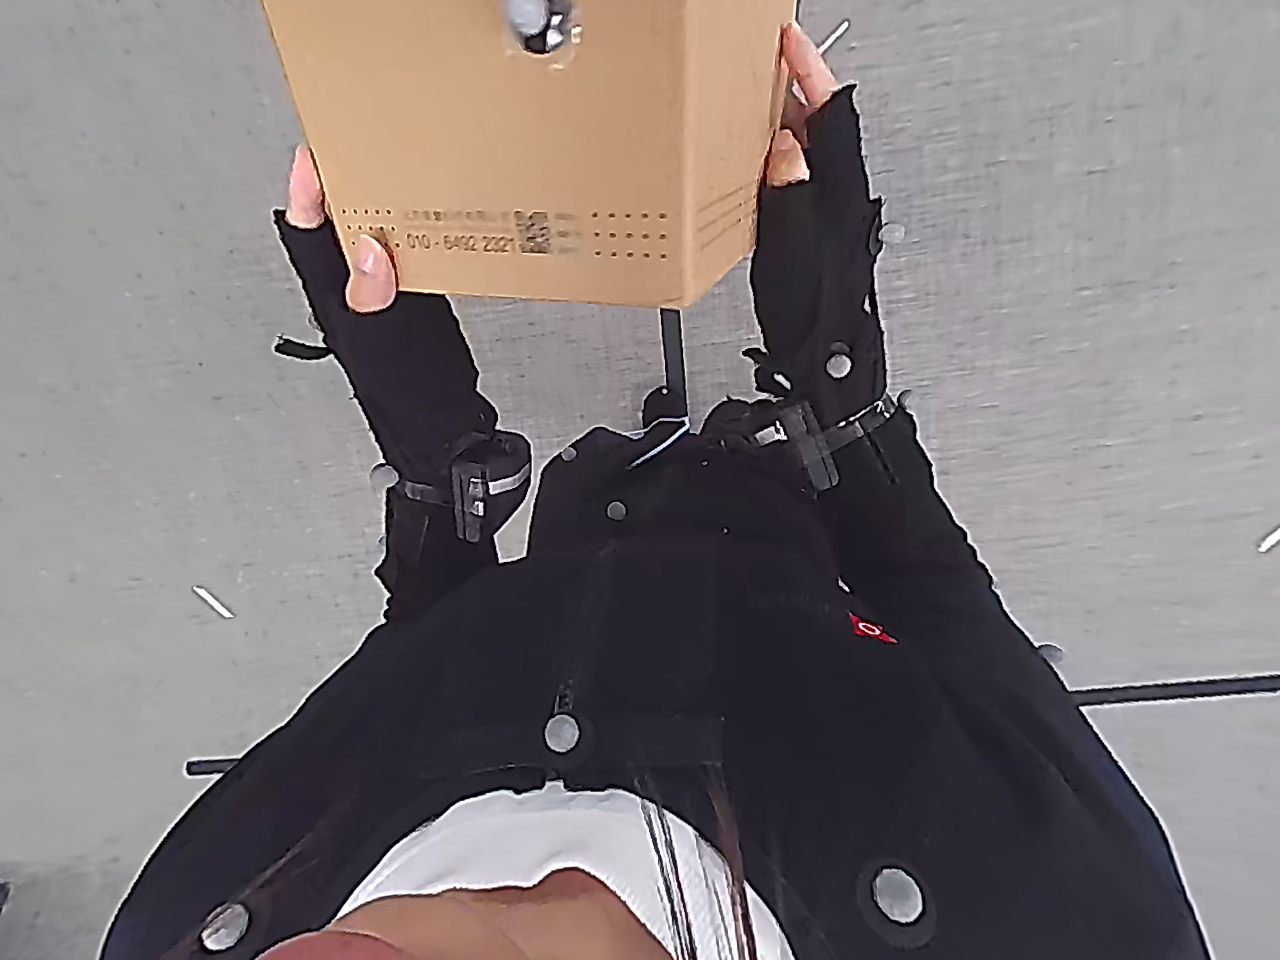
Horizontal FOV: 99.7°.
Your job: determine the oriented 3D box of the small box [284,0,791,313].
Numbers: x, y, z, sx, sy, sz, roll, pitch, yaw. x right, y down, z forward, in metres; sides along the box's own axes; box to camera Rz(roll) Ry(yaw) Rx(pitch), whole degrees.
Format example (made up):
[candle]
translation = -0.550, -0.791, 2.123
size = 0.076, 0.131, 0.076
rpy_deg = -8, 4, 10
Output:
[small box]
translation = -0.026, -0.186, 0.250
size = 0.168, 0.179, 0.176
rpy_deg = 11, 127, 19
